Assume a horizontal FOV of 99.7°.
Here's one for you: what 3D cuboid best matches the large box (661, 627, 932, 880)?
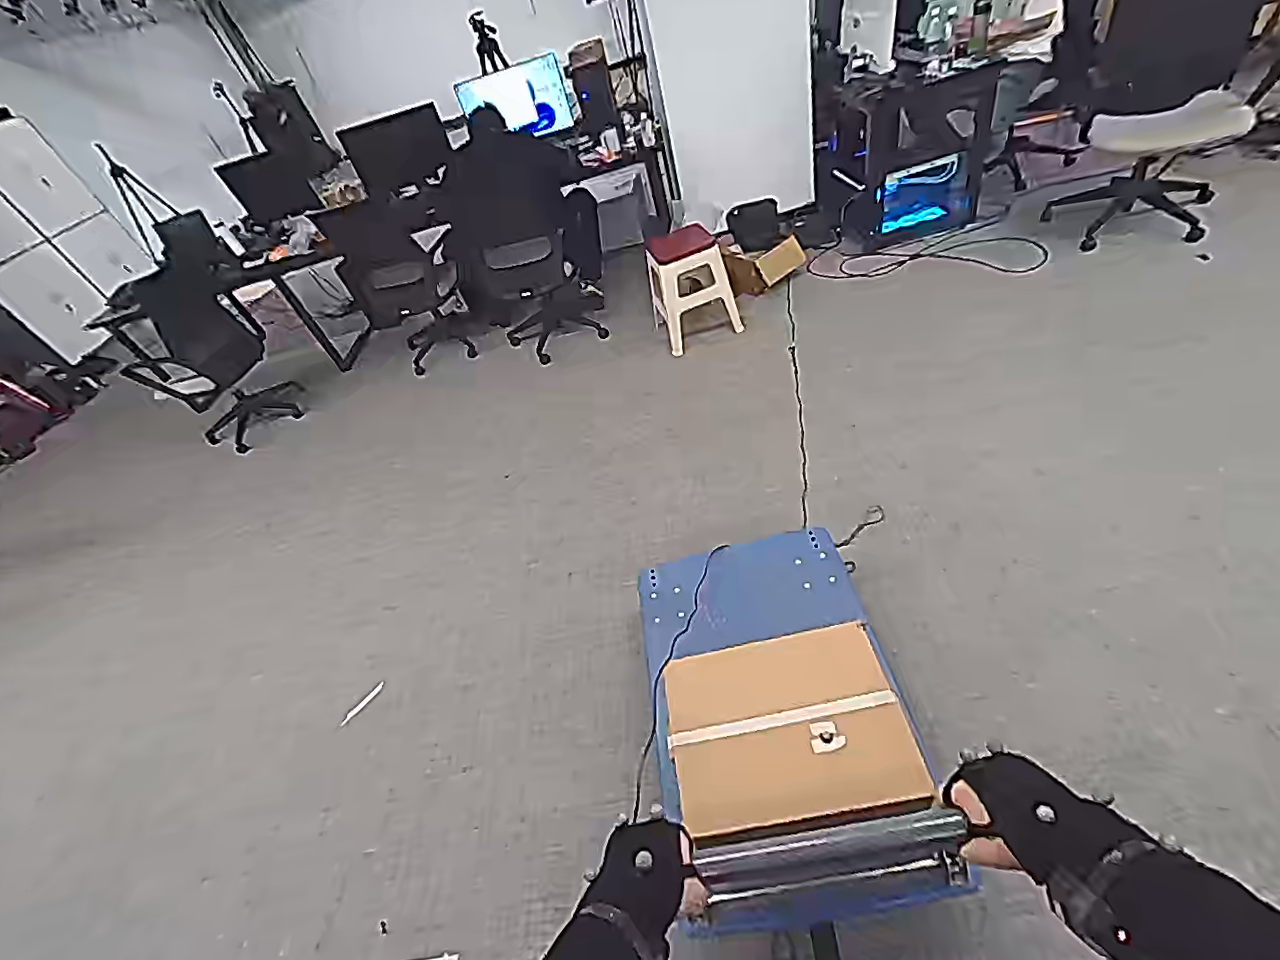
[{"bbox_3d":[0.282,0.540,1.059,0.408,0.320,0.320,-14,45,6],"label":"large box"}]
